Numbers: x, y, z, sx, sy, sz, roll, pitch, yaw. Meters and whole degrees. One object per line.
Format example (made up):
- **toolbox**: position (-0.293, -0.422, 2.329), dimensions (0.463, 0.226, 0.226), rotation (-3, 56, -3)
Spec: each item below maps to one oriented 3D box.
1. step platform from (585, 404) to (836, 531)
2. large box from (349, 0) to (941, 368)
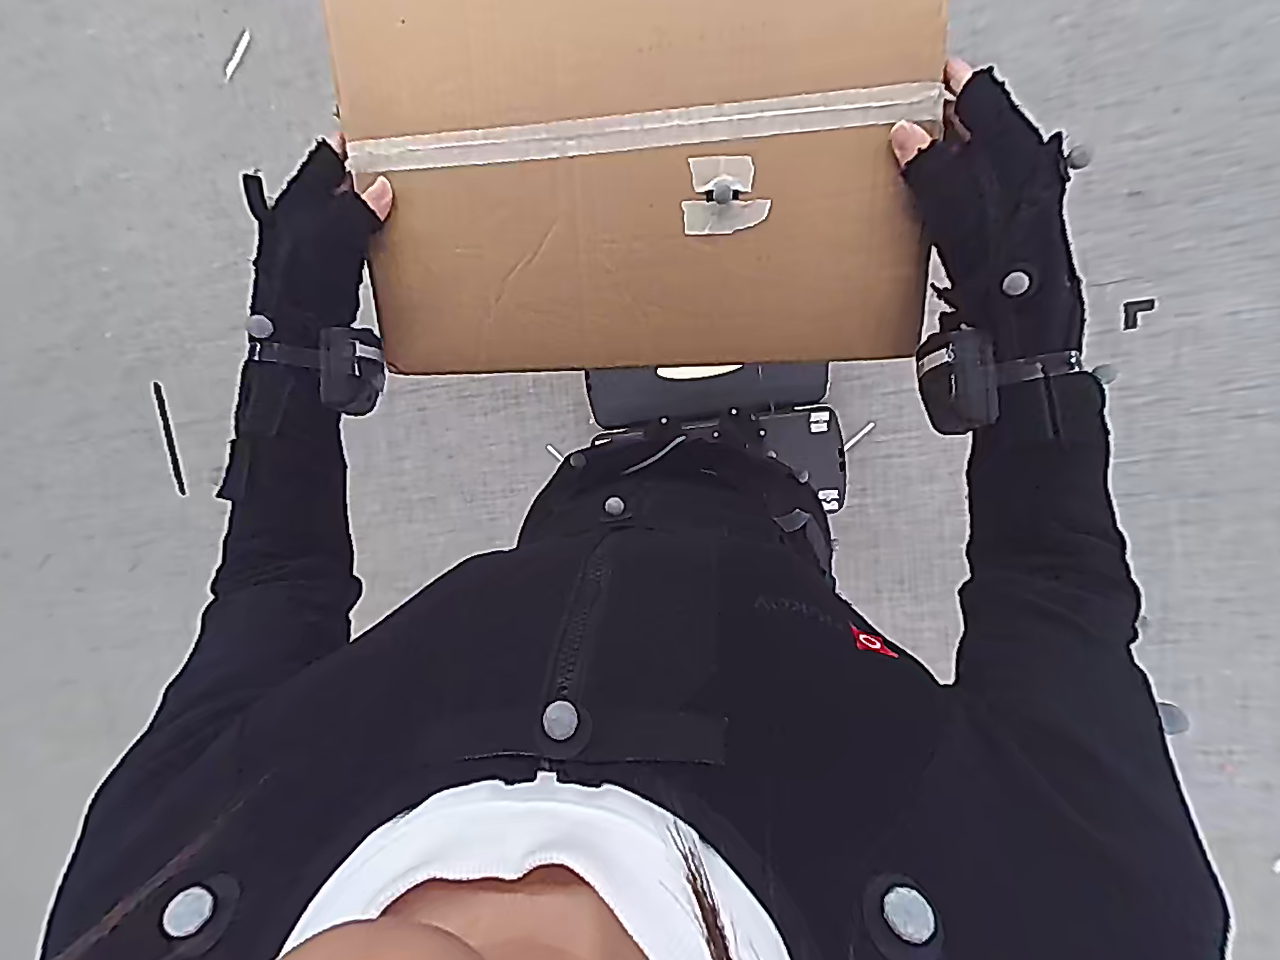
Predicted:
- **step platform**: position (0.190, -0.031, 1.517), dimensions (0.684, 0.204, 0.286), rotation (-7, 96, 12)
- **large box**: position (0.012, -0.286, 0.522), dimensions (0.408, 0.320, 0.320), rotation (-1, 107, 8)
